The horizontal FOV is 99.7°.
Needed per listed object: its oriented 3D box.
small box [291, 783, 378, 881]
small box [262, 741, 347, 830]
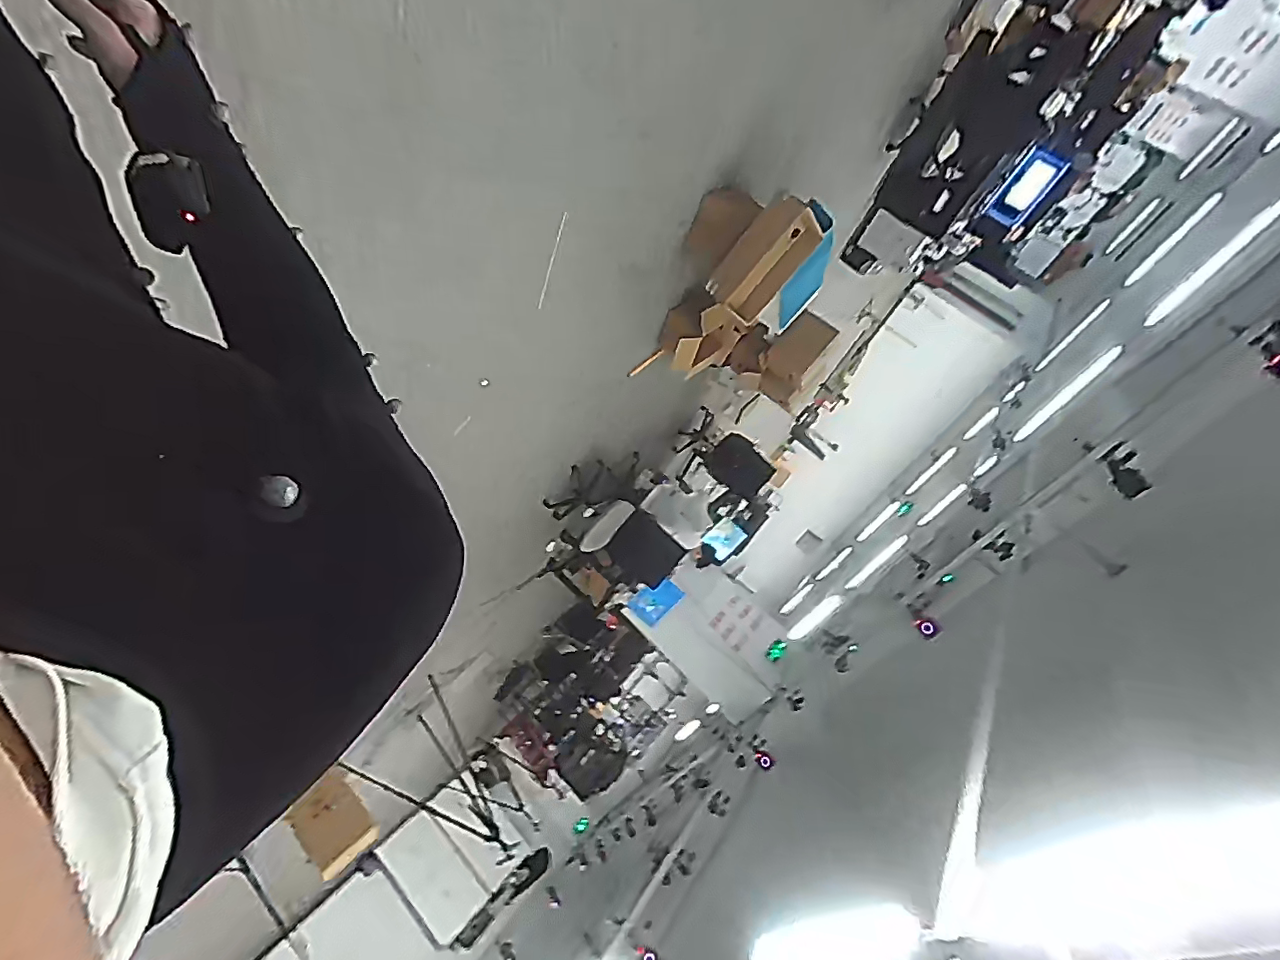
[{"bbox_3d":[-0.914,1.050,1.619,0.168,0.176,0.179,-33,159,-44],"label":"small box"},{"bbox_3d":[-1.026,0.937,1.657,0.168,0.176,0.179,-32,160,-44],"label":"small box"}]
